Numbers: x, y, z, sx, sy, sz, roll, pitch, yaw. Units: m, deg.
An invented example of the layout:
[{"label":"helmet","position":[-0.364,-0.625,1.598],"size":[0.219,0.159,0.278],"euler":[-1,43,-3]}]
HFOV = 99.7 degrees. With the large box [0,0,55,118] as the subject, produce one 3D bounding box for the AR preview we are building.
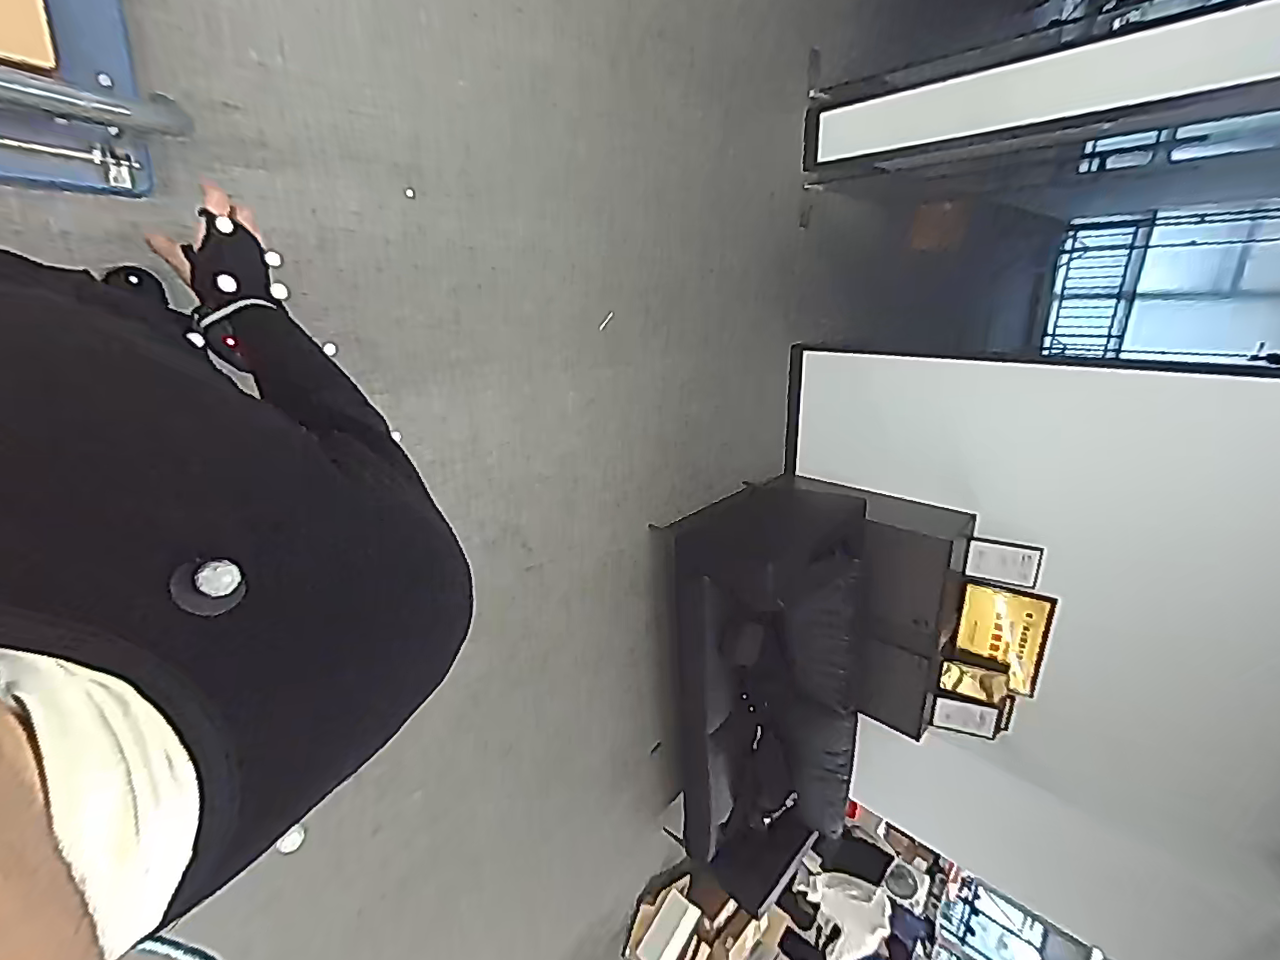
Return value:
[{"label":"large box","position":[-1.021,-0.759,0.688],"size":[0.320,0.320,0.408],"euler":[-15,112,-45]}]
